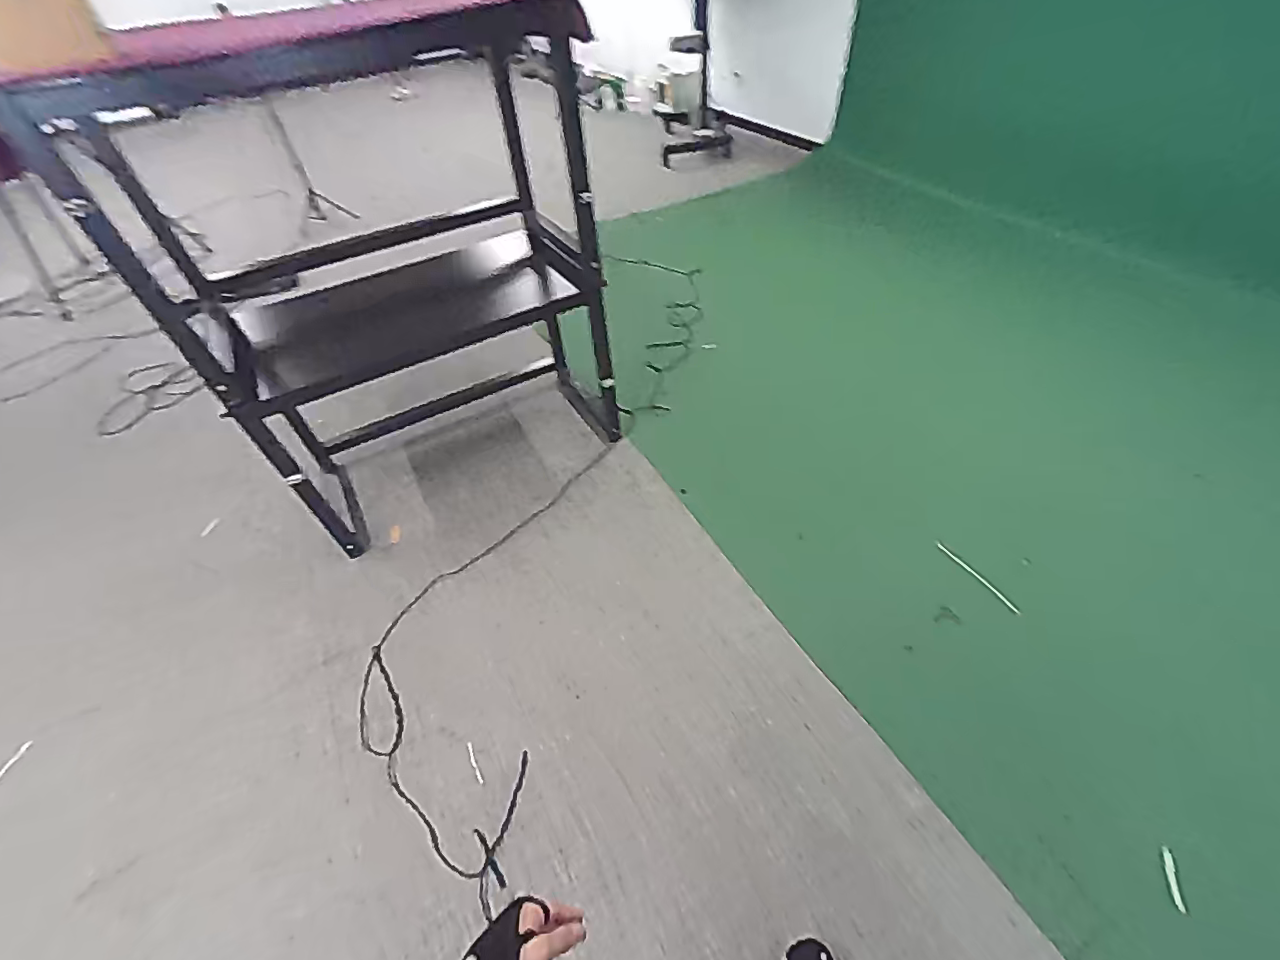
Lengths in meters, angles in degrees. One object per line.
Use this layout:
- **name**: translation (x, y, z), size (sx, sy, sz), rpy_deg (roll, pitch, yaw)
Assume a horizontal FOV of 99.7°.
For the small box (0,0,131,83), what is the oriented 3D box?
- **small box**: translation (-1.126, -0.869, 1.018), size (0.179, 0.176, 0.168), rpy_deg (-25, 49, -19)
